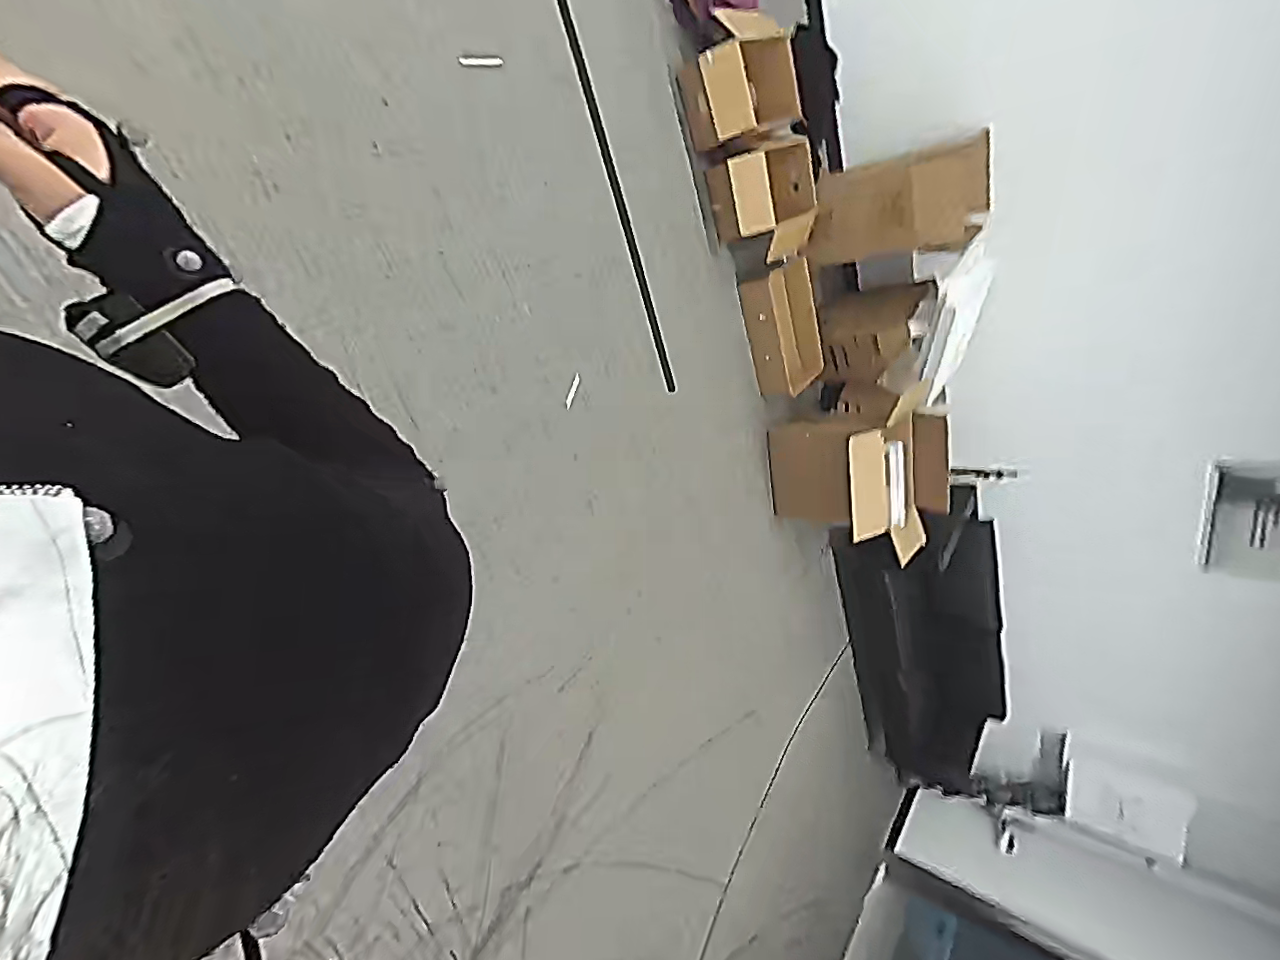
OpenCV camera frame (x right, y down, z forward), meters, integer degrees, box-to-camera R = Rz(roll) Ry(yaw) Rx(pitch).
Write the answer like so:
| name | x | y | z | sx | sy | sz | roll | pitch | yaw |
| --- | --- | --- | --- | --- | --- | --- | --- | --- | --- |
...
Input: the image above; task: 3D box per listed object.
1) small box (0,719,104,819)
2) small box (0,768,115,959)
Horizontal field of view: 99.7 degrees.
| name | x | y | z | sx | sy | sz | roll | pitch | yaw |
| --- | --- | --- | --- | --- | --- | --- | --- | --- | --- |
| small box | -1.056 | 0.543 | 0.912 | 0.168 | 0.176 | 0.179 | -34 | 117 | -40 |
| small box | -0.936 | 0.572 | 0.801 | 0.168 | 0.176 | 0.179 | -38 | 121 | -38 |
